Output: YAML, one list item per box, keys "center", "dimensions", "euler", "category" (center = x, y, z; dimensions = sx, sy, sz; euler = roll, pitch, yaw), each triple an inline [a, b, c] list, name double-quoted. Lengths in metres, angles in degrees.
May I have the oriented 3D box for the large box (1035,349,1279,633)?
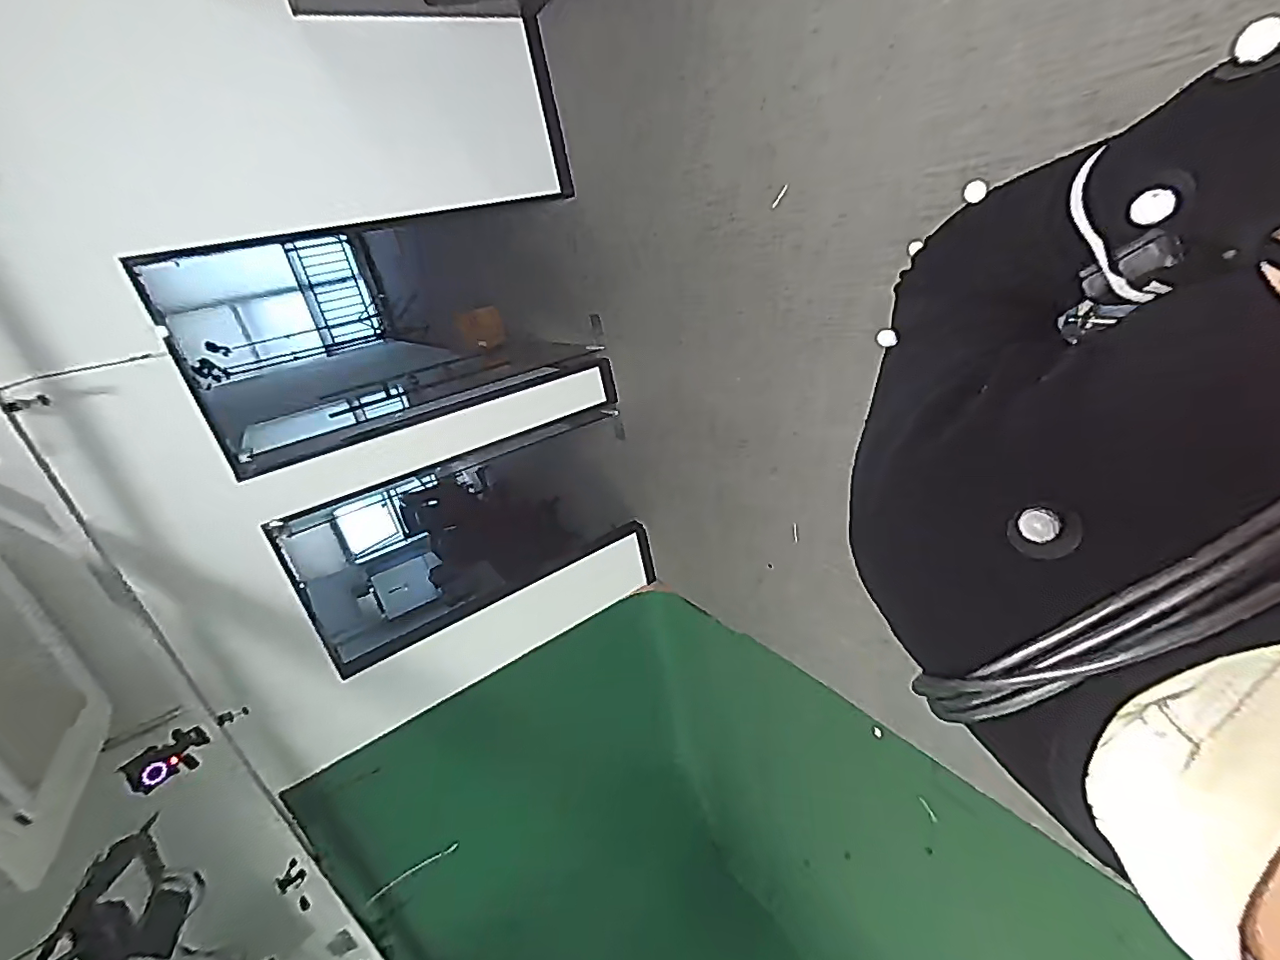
- center: [1.037, -0.004, 1.040]
  dimensions: [0.320, 0.320, 0.408]
  euler: [29, 136, 49]
  category: "large box"
